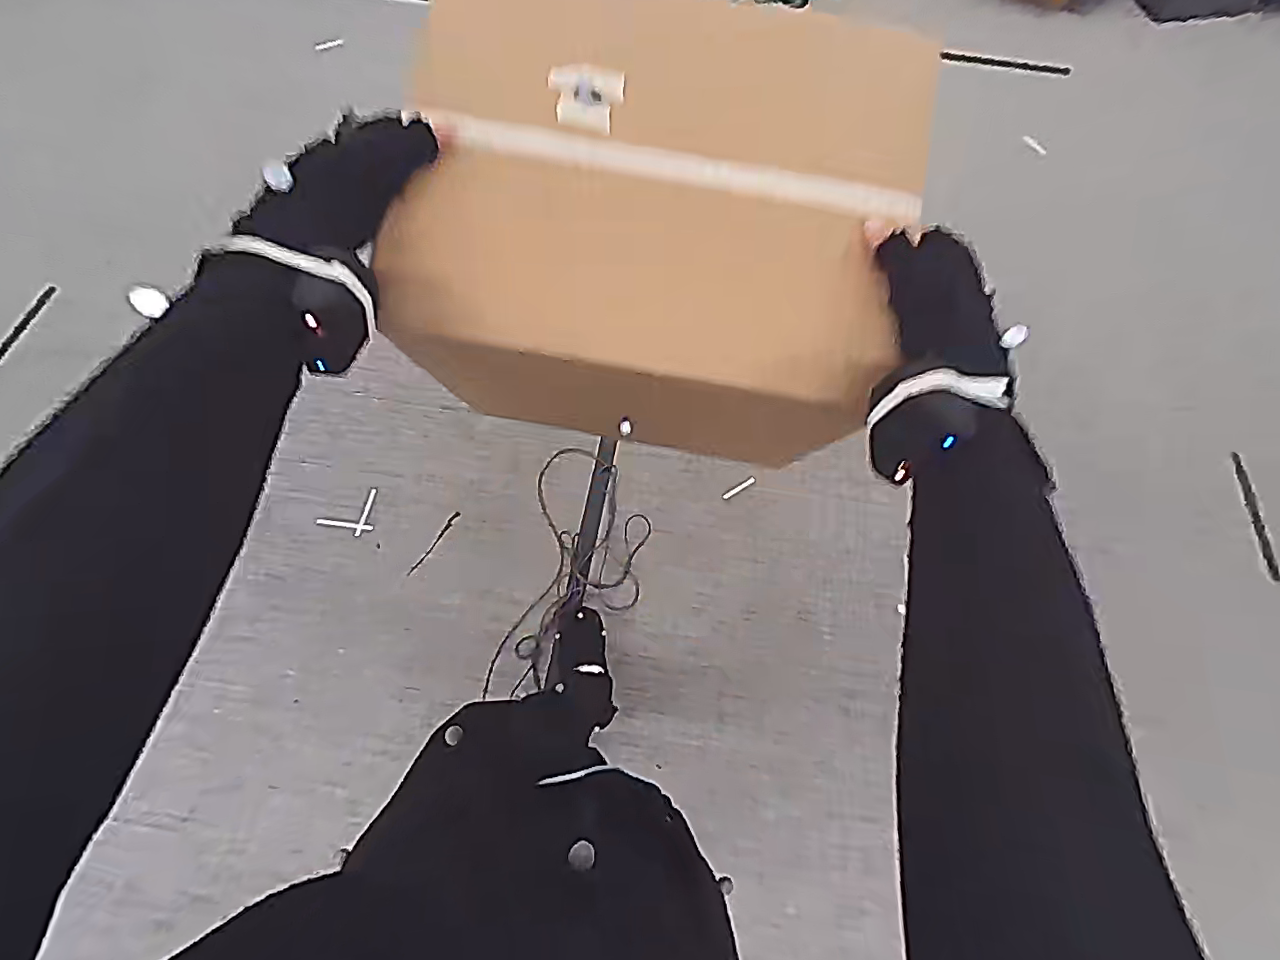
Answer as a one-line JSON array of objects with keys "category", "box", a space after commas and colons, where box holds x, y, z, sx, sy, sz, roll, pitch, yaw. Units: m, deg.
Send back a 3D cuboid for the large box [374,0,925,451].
[{"category": "large box", "box": [0.016, -0.229, 0.574, 0.408, 0.320, 0.320, 10, 83, 1]}]
